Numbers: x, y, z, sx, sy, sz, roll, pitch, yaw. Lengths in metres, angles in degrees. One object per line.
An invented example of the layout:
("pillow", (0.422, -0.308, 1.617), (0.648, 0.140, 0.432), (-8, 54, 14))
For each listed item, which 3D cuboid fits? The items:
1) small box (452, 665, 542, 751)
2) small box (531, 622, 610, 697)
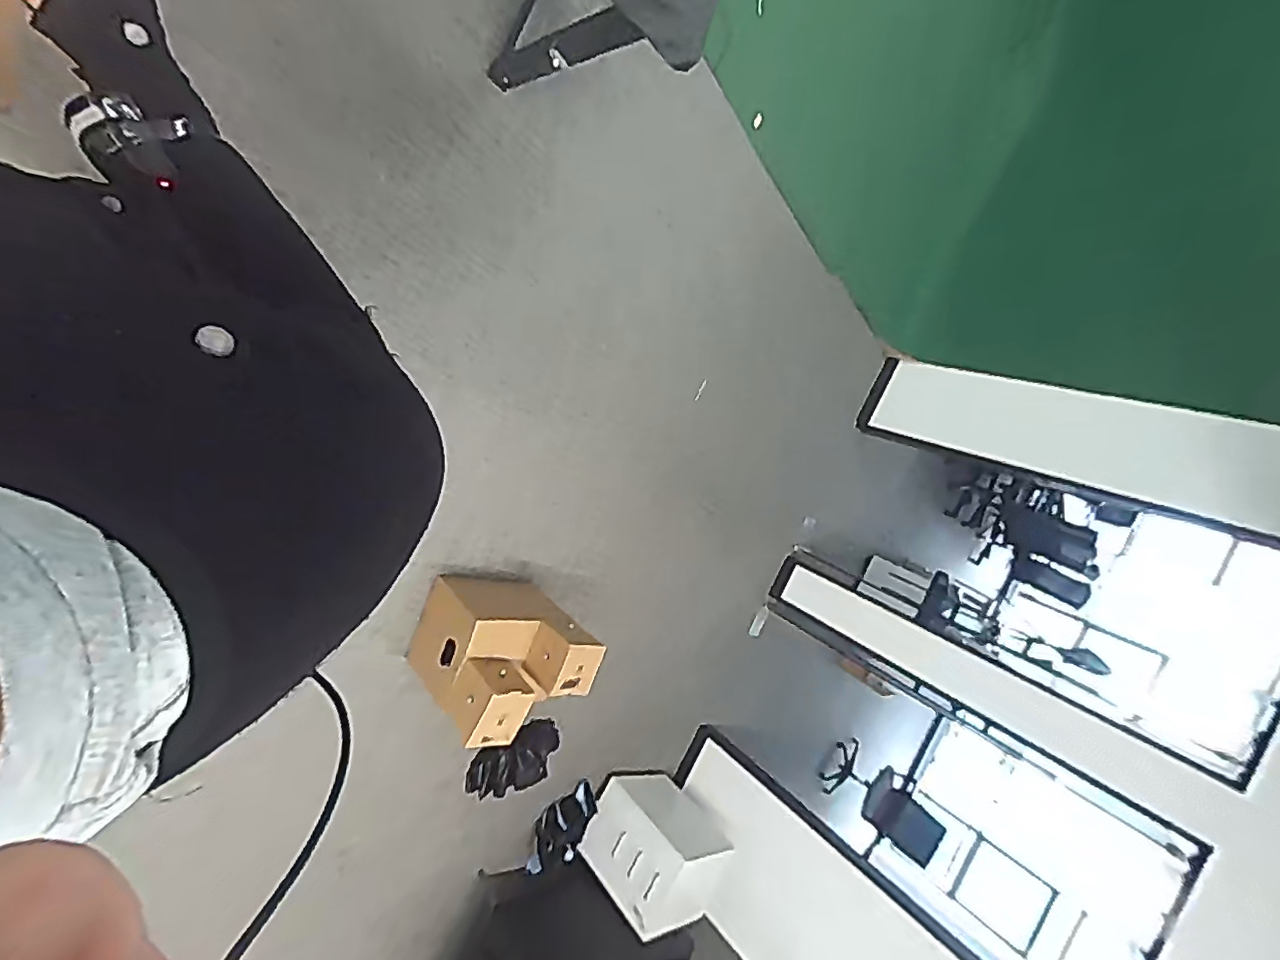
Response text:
("small box", (-0.430, 0.672, 1.610), (0.168, 0.176, 0.179), (25, 91, -48))
("small box", (-0.233, 0.585, 1.769), (0.168, 0.176, 0.179), (21, 89, -48))
